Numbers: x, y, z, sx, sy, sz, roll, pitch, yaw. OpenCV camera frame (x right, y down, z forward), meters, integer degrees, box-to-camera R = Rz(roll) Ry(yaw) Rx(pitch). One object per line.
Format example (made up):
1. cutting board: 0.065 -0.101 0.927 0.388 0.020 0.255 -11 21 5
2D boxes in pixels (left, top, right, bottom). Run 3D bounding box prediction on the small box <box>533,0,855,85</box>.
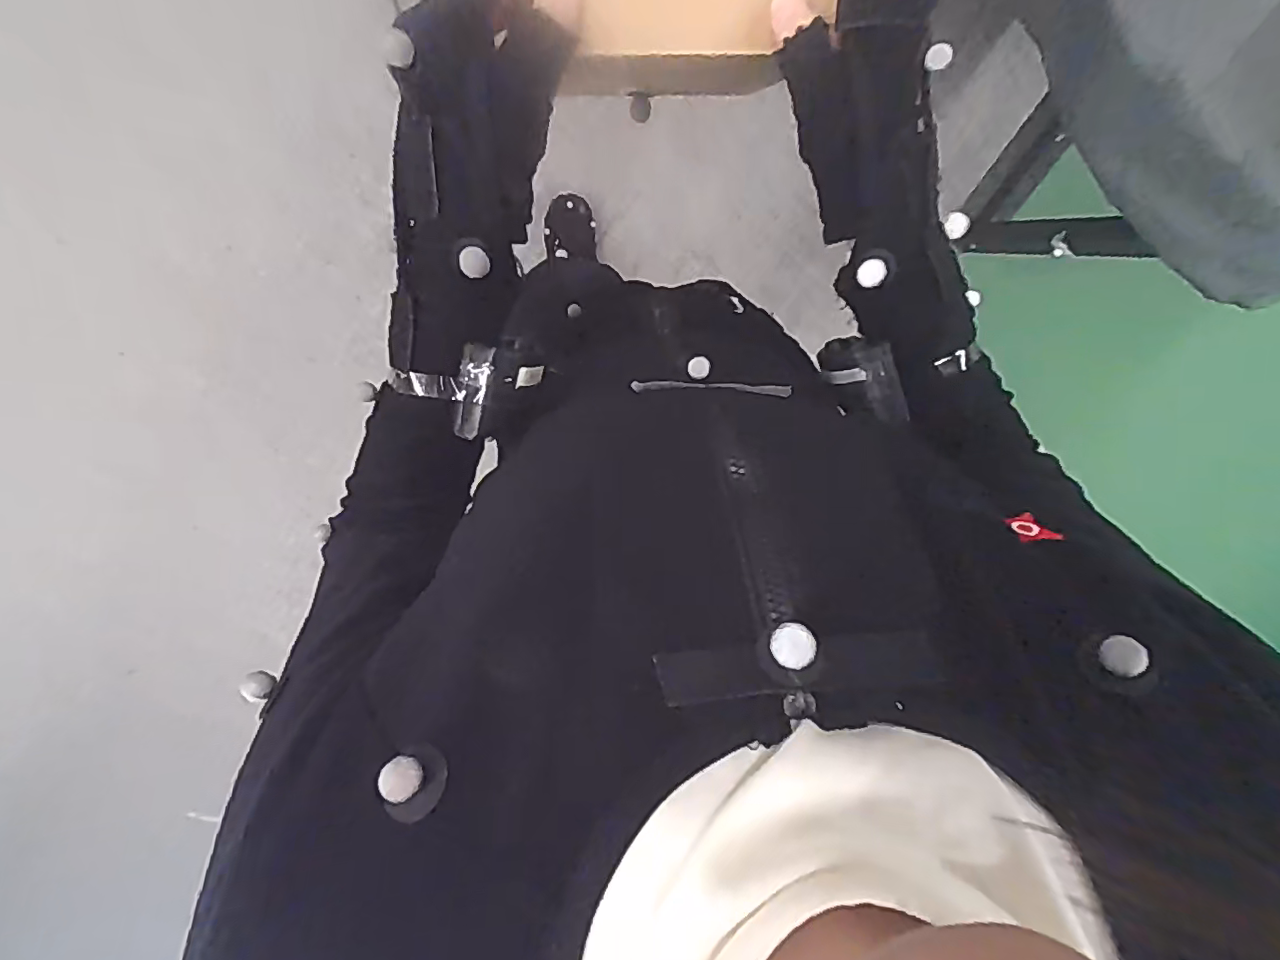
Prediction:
1. small box: 0.017 -0.341 0.303 0.168 0.176 0.179 -5 121 -6
